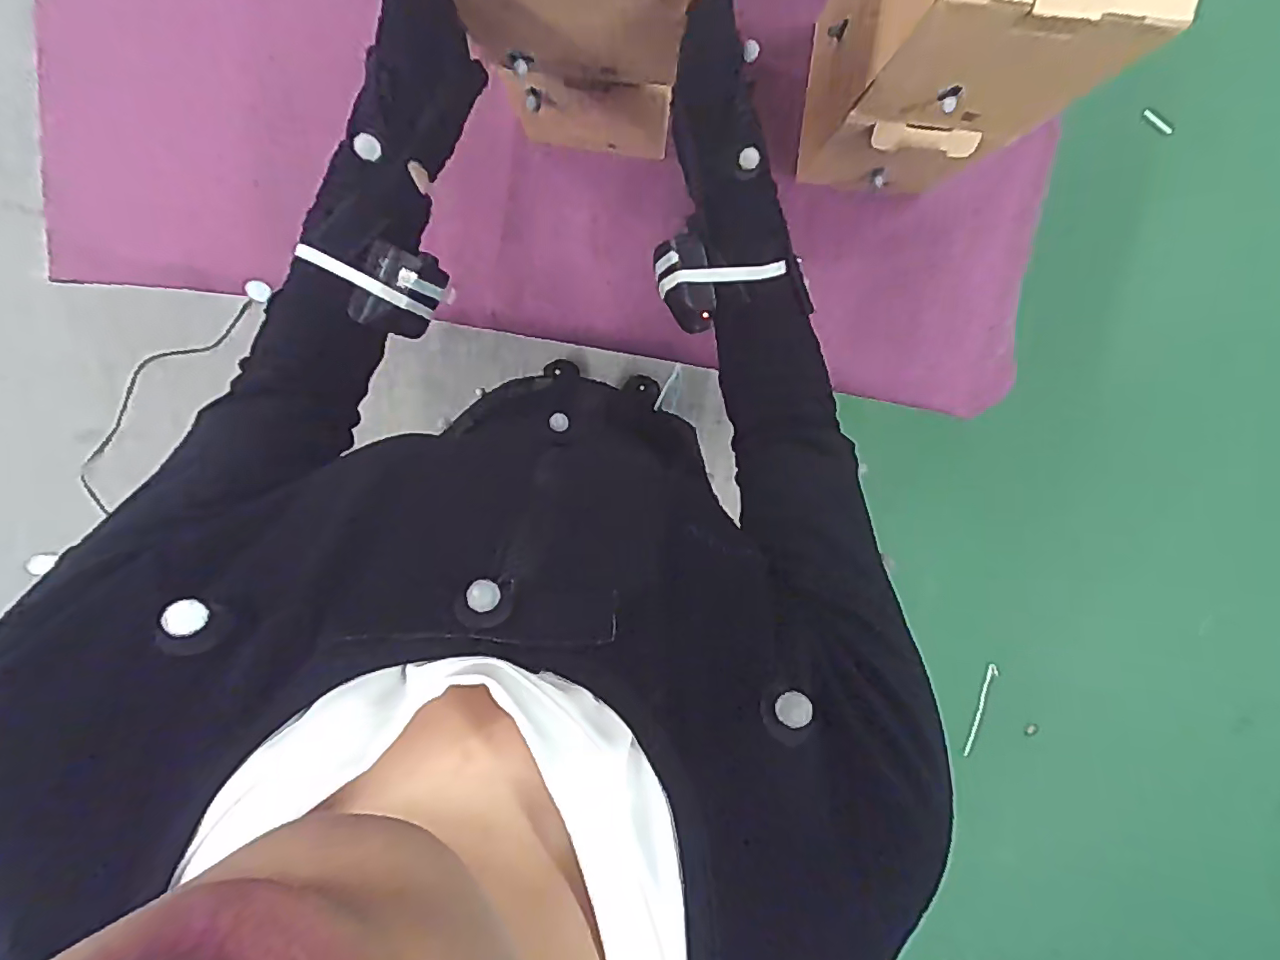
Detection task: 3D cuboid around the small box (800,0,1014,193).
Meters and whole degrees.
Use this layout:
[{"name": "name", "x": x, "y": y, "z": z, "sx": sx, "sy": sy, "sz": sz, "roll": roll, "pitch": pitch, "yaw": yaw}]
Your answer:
[{"name": "small box", "x": 0.281, "y": -0.430, "z": 0.571, "sx": 0.168, "sy": 0.176, "sz": 0.179, "roll": 6, "pitch": 103, "yaw": -1}]

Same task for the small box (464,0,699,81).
[{"name": "small box", "x": -0.034, "y": -0.402, "z": 0.359, "sx": 0.168, "sy": 0.176, "sz": 0.179, "roll": 5, "pitch": 106, "yaw": -2}]

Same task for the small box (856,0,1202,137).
[{"name": "small box", "x": 0.286, "y": -0.398, "z": 0.410, "sx": 0.168, "sy": 0.176, "sz": 0.179, "roll": 6, "pitch": 103, "yaw": -2}]
